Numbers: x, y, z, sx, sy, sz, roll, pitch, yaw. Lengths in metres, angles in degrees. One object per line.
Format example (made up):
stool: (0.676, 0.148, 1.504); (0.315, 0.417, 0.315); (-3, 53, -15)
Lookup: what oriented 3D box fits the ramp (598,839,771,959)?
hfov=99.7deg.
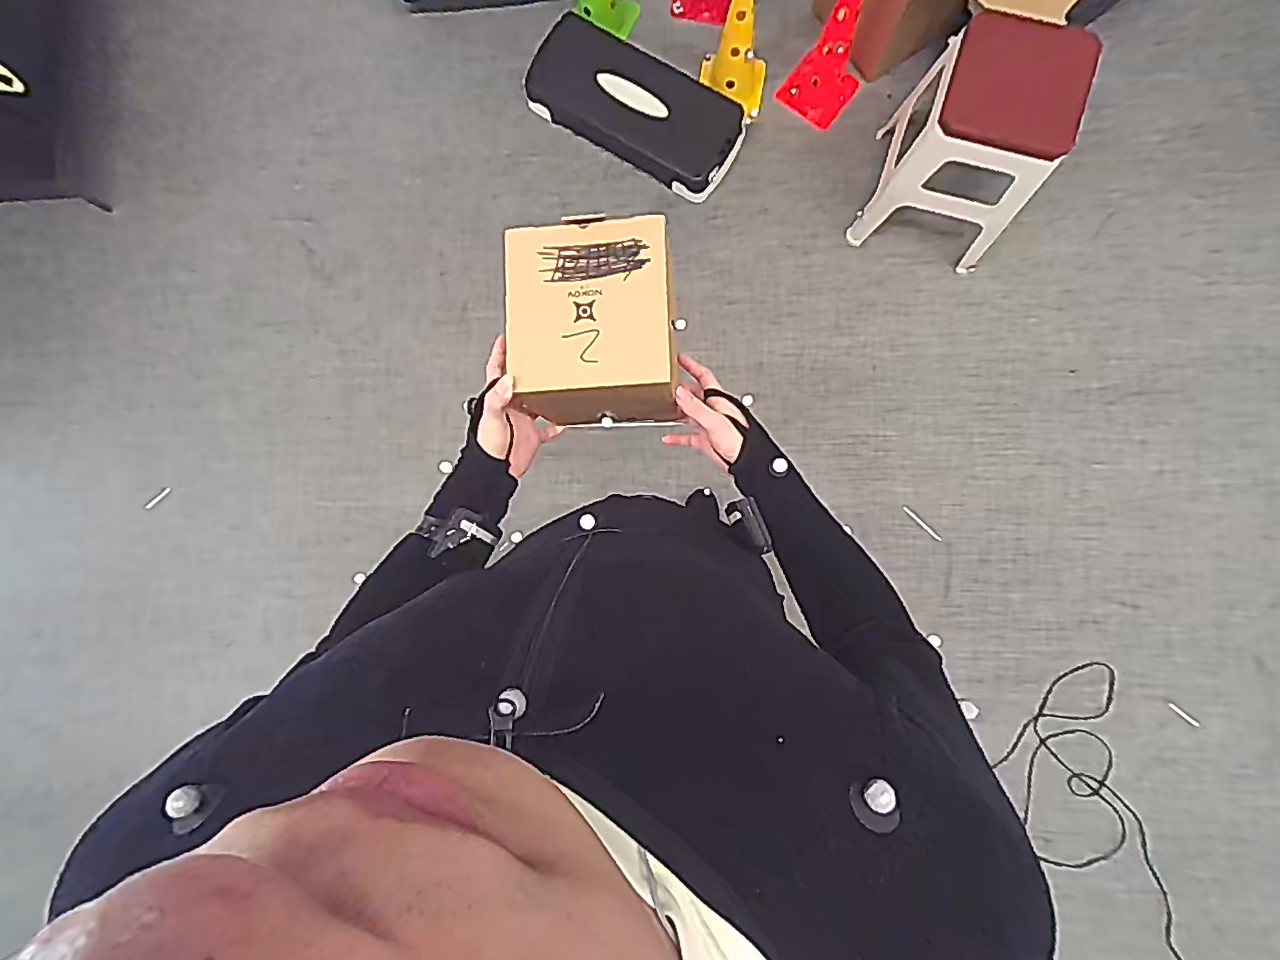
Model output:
ramp: (0.125, 1.547, 1.479); (0.509, 0.206, 0.991); (-3, 87, 5)
